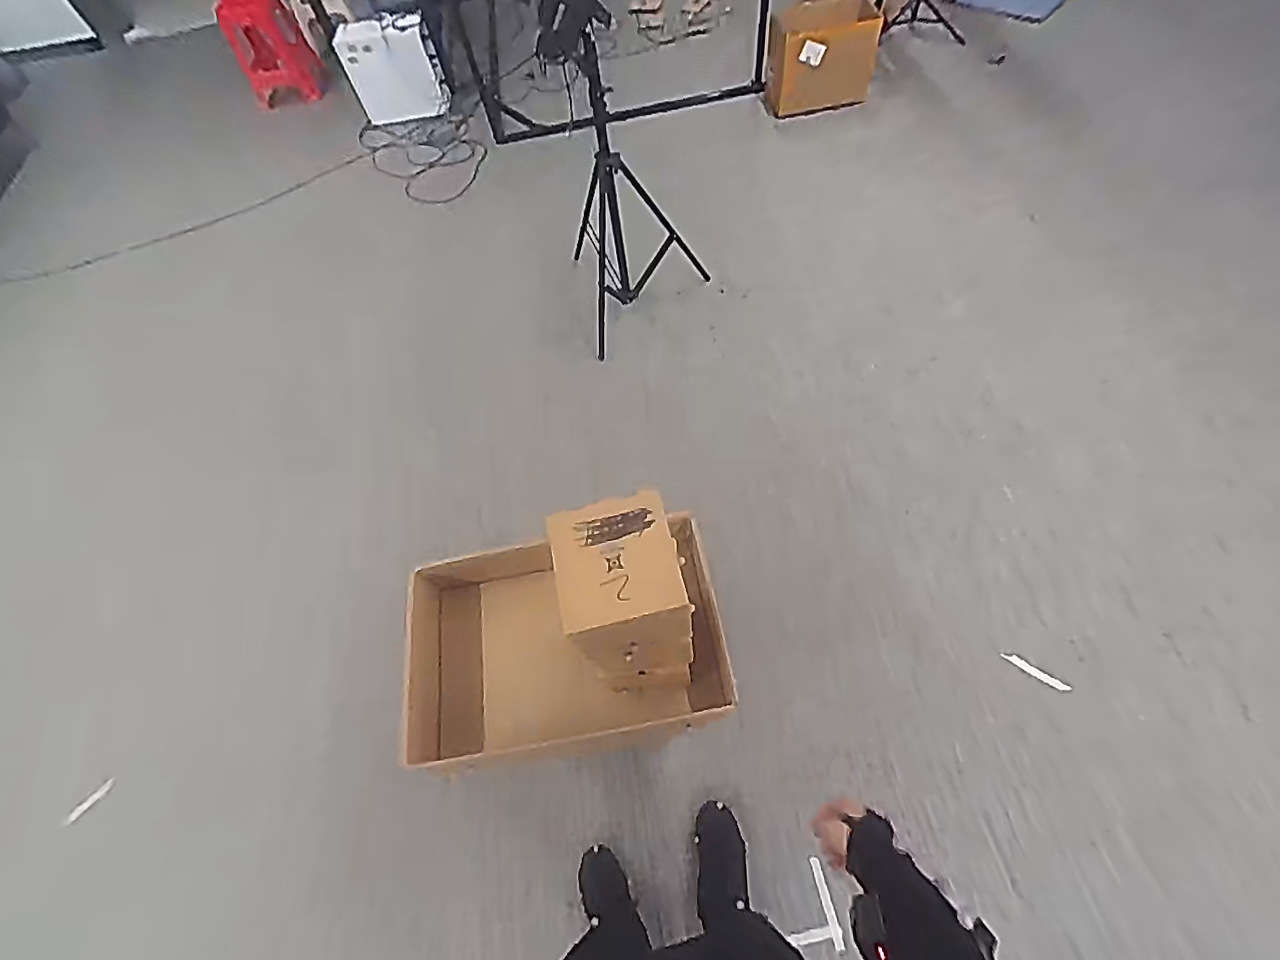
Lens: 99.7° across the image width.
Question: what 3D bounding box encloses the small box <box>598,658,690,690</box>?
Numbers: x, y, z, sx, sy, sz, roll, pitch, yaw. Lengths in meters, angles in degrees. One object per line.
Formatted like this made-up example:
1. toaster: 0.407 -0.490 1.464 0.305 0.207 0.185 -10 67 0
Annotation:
1. small box: 0.011 0.314 1.073 0.168 0.176 0.179 -5 59 3

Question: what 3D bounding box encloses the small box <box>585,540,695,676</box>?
1. small box: 0.001 0.225 0.936 0.168 0.176 0.179 -8 59 2
